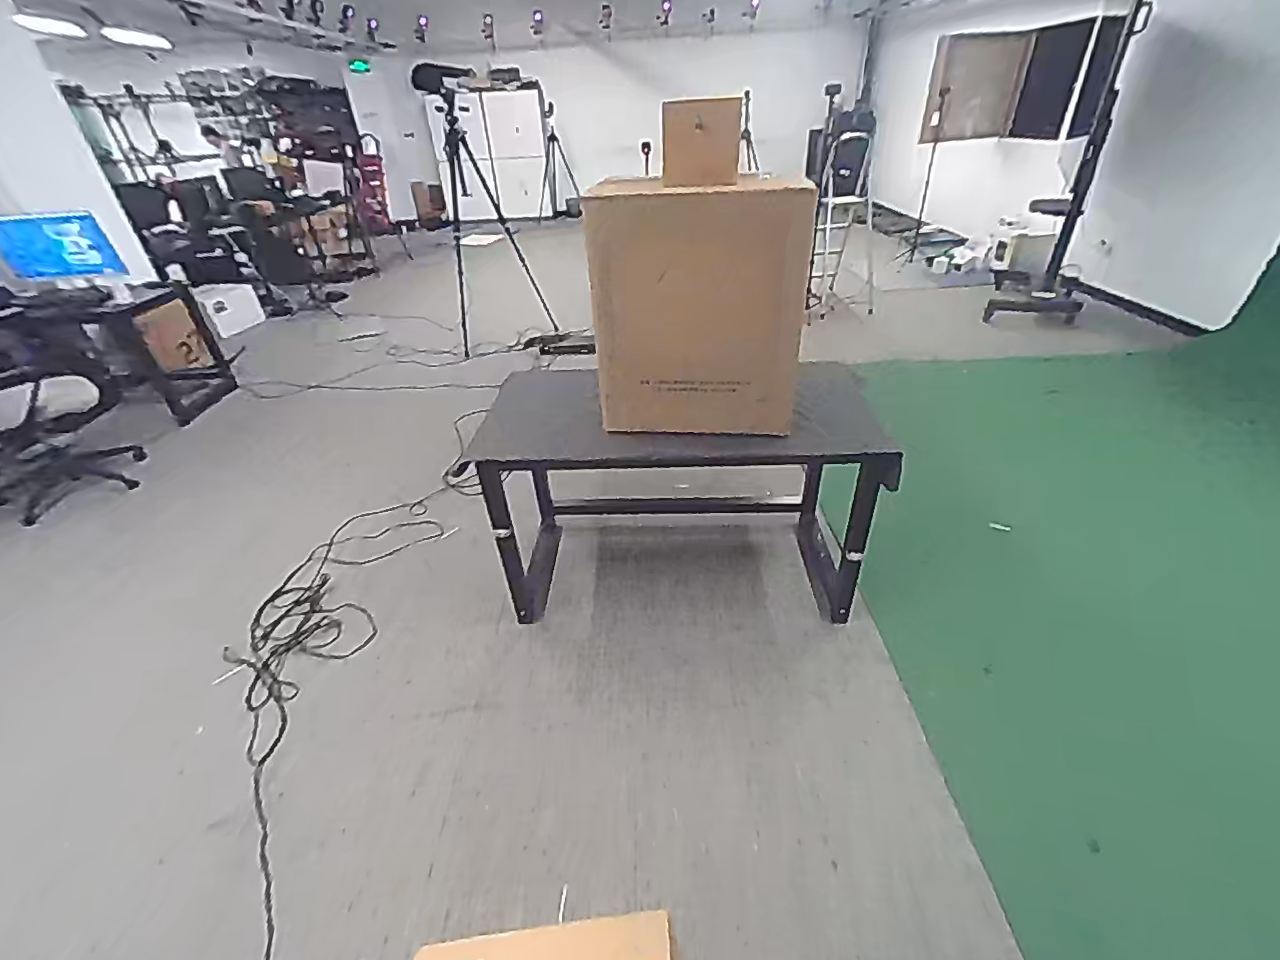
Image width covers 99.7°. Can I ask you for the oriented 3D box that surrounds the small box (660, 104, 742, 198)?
[{"bbox_3d":[0.145,-0.768,1.263,0.179,0.176,0.168,2,37,9],"label":"small box"}]
